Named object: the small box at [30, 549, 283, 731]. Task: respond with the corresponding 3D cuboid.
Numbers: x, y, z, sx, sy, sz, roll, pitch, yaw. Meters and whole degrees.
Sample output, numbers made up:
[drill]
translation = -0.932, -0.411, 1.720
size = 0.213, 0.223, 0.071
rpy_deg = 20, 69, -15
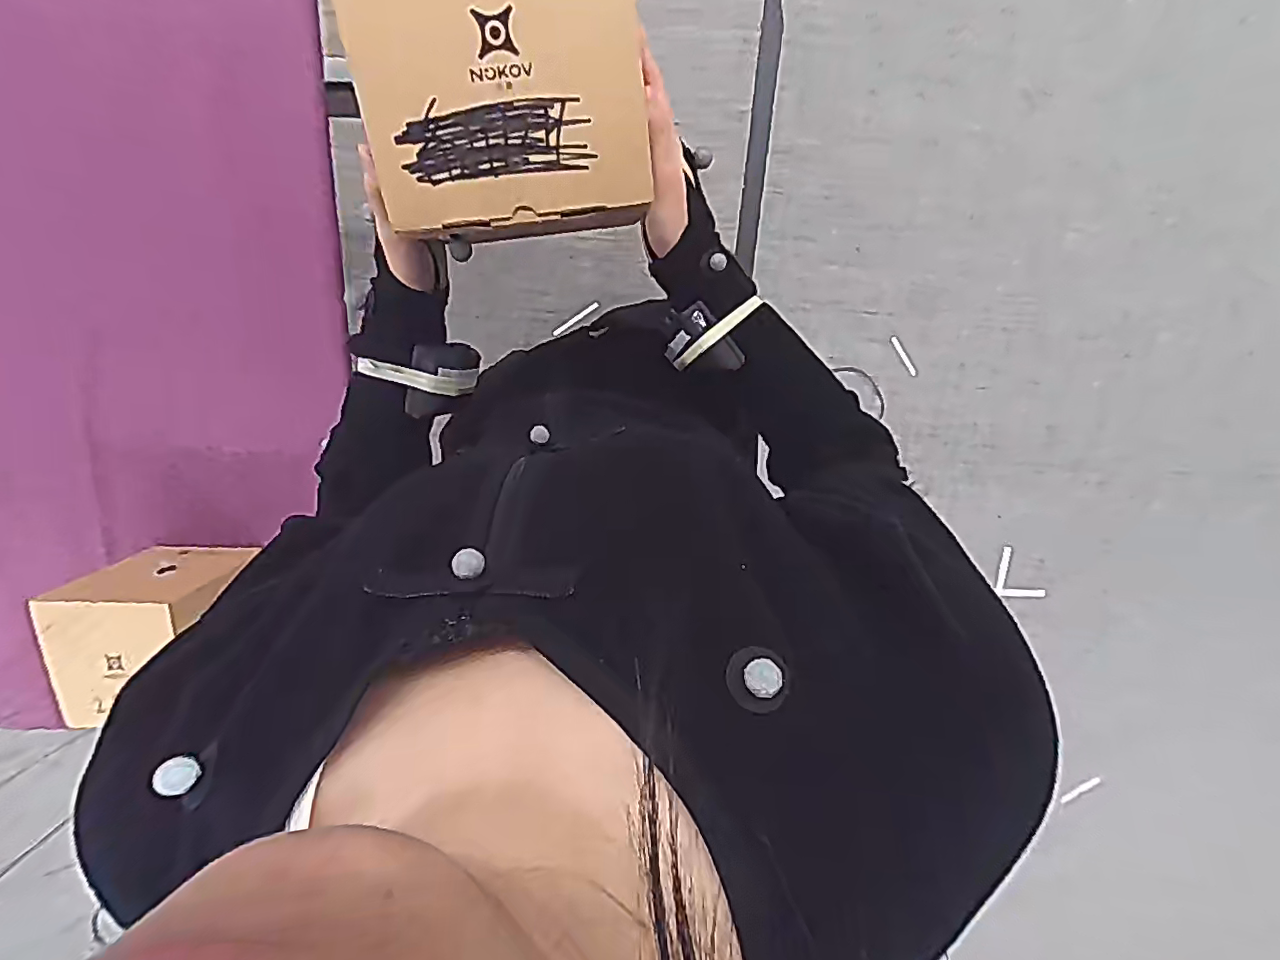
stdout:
[small box]
translation = -0.614, 0.200, 0.713
size = 0.168, 0.176, 0.179
rpy_deg = 1, 105, 2
